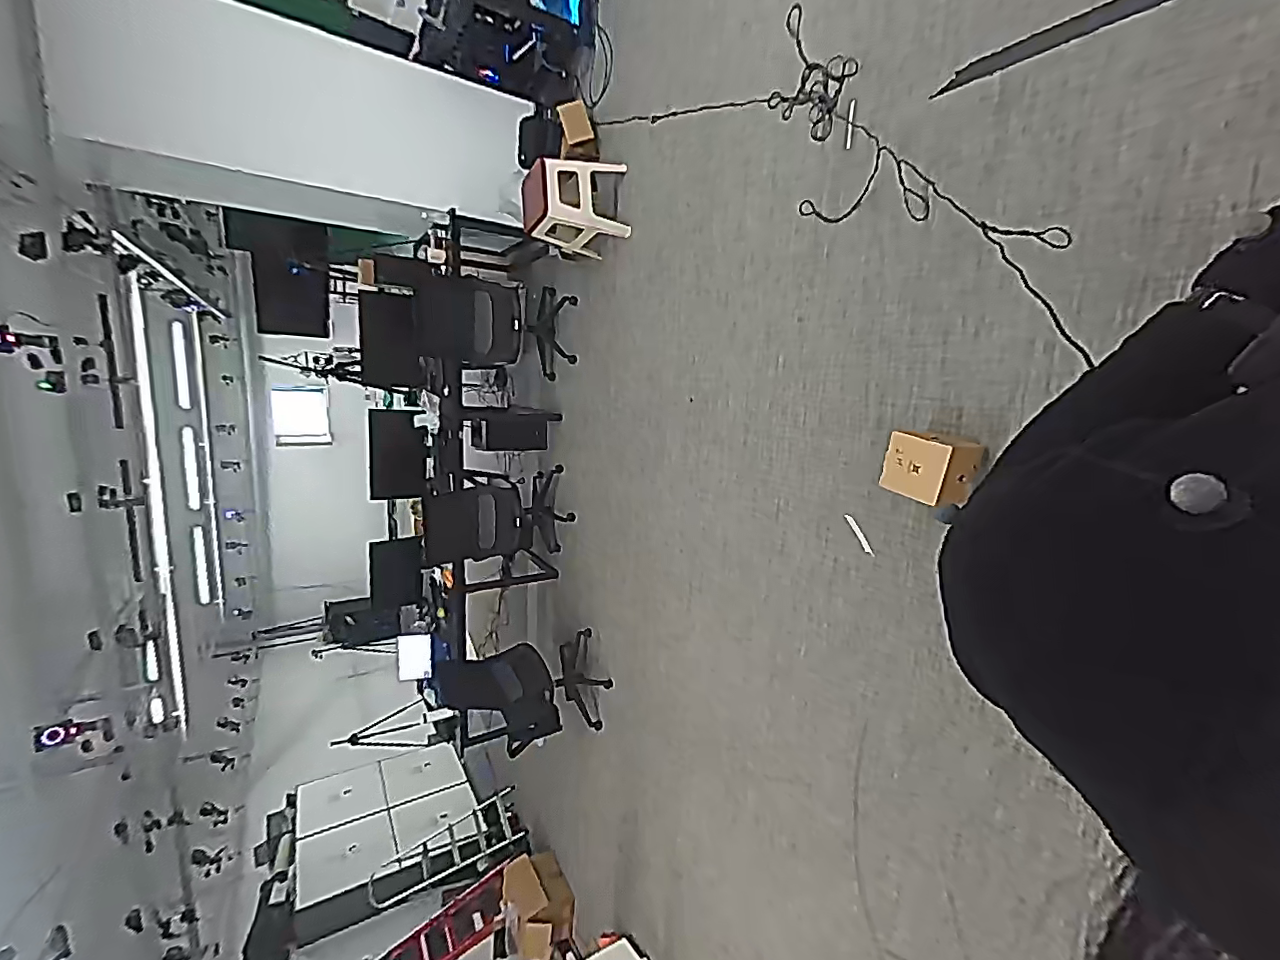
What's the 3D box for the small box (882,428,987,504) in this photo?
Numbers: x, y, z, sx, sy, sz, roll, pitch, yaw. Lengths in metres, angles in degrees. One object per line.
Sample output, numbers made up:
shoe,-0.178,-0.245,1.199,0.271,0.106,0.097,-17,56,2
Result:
small box,0.811,-0.046,1.489,0.179,0.176,0.168,33,120,53
